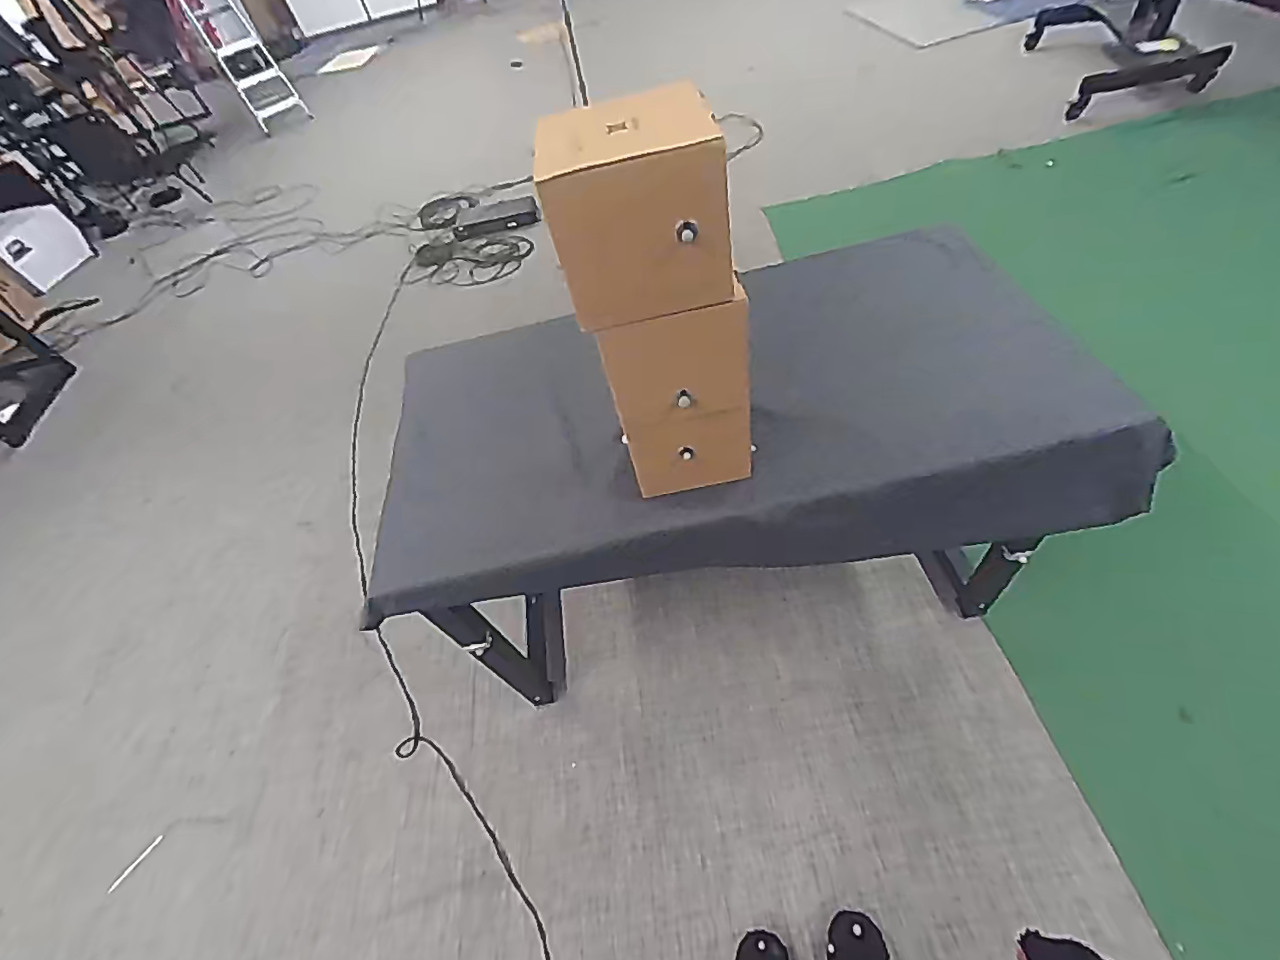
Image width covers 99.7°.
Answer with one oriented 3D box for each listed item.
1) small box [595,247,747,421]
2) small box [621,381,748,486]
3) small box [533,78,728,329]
[{"bbox_3d":[0.040,-0.201,0.717,0.179,0.176,0.168,-11,52,4],"label":"small box"},{"bbox_3d":[0.069,-0.110,0.846,0.179,0.176,0.168,-9,50,6],"label":"small box"},{"bbox_3d":[-0.004,-0.294,0.589,0.179,0.176,0.168,-12,51,6],"label":"small box"}]
